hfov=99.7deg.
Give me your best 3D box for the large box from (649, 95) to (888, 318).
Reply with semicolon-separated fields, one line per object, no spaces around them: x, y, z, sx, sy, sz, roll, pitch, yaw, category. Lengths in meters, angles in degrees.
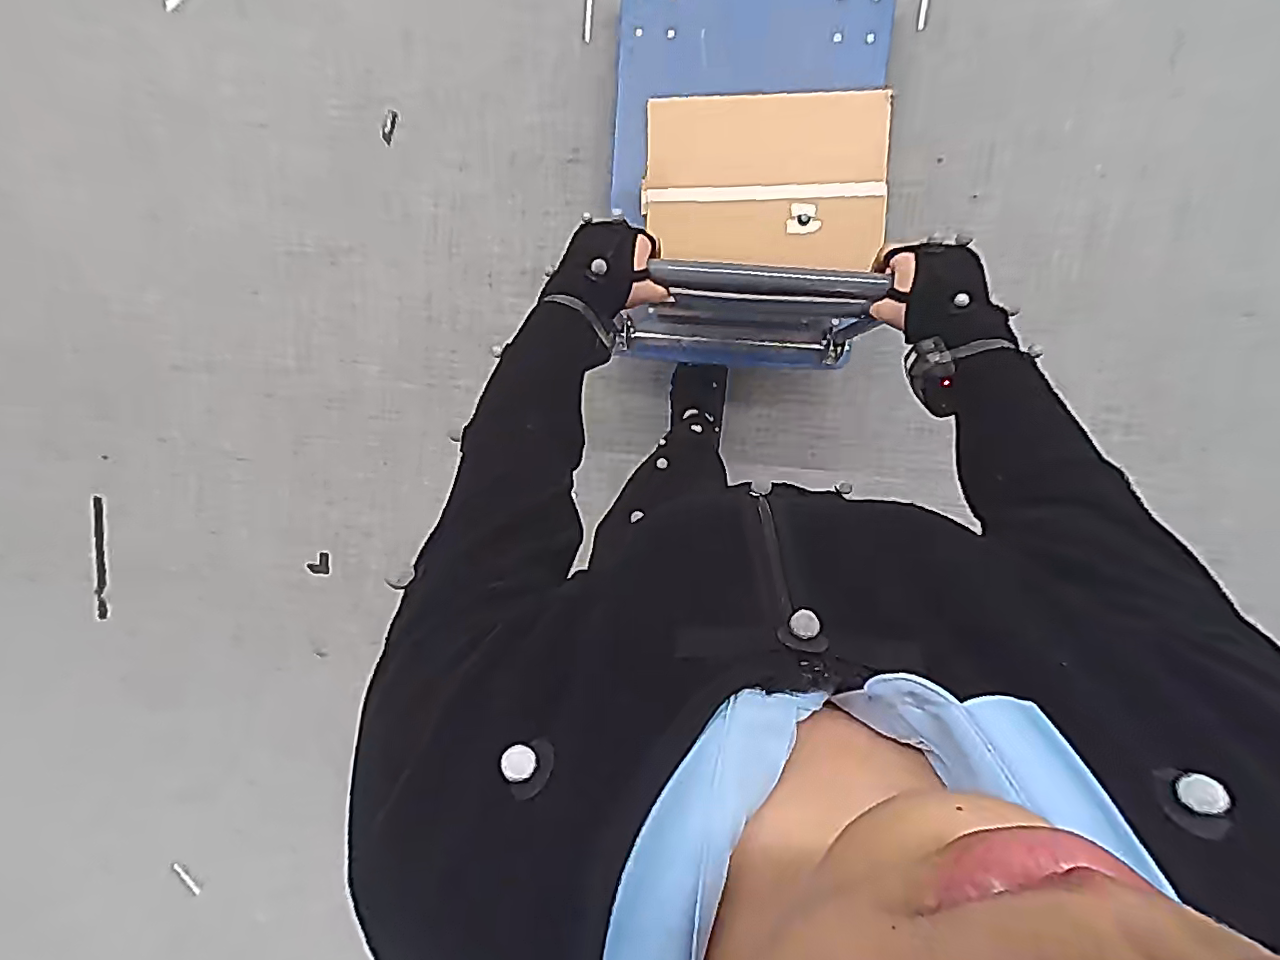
0.225;-0.510;1.080;0.408;0.320;0.320;1;99;3;large box
